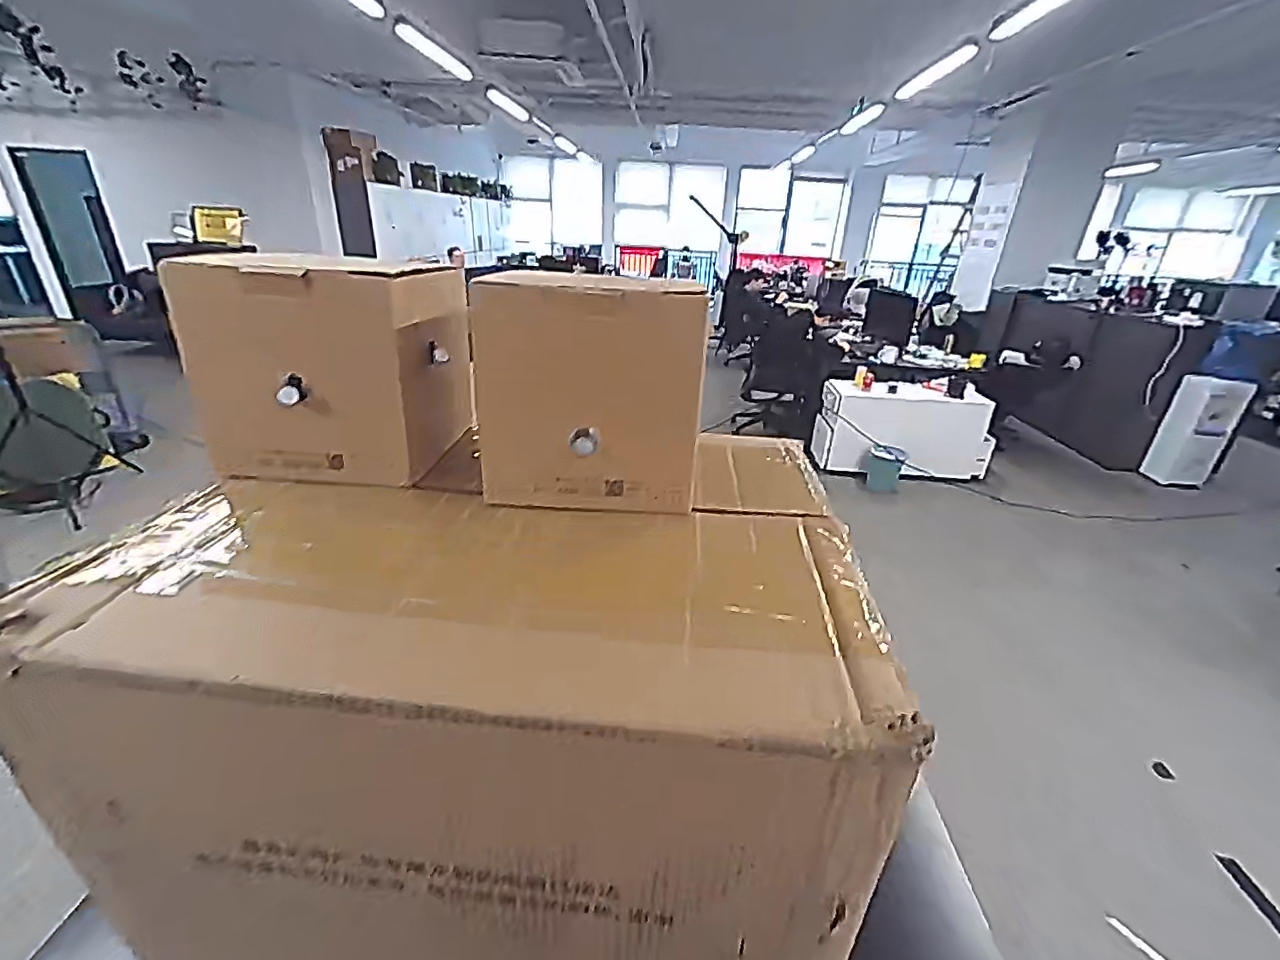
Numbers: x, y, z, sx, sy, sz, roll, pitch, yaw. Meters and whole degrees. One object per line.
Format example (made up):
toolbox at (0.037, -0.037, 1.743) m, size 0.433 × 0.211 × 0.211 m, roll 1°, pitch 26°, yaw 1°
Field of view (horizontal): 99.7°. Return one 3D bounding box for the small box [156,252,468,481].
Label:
small box at (-0.261, -0.107, 0.487) m, size 0.168 × 0.176 × 0.179 m, roll 3°, pitch 24°, yaw -1°

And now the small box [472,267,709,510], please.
small box at (-0.035, -0.088, 0.469) m, size 0.168 × 0.176 × 0.179 m, roll 3°, pitch 23°, yaw 1°
